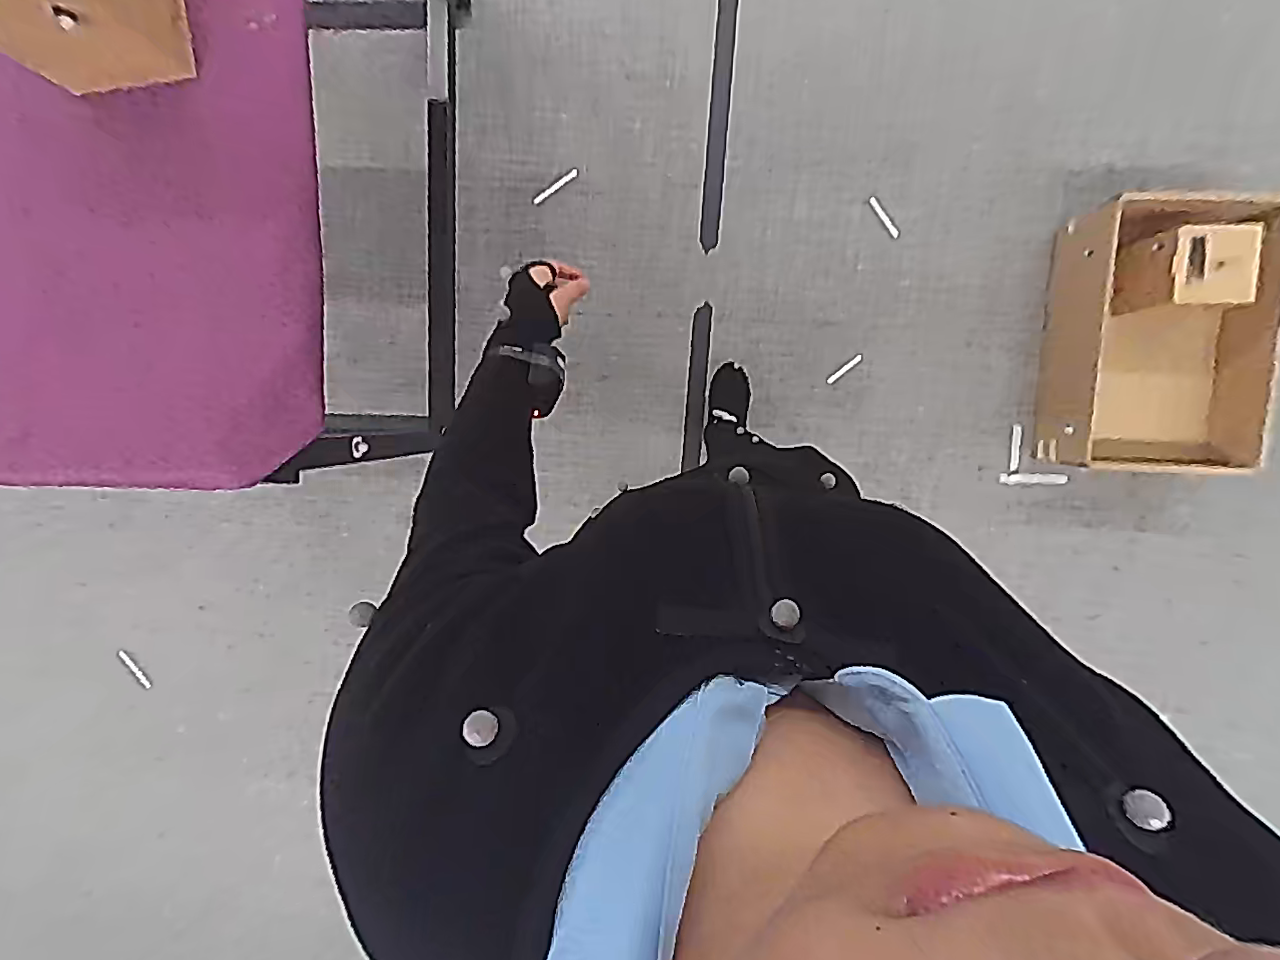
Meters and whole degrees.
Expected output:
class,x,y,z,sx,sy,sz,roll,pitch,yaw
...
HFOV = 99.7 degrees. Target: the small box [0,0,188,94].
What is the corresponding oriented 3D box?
class,x,y,z,sx,sy,sz,roll,pitch,yaw
small box,-0.691,-0.604,0.647,0.179,0.176,0.168,-6,95,4
